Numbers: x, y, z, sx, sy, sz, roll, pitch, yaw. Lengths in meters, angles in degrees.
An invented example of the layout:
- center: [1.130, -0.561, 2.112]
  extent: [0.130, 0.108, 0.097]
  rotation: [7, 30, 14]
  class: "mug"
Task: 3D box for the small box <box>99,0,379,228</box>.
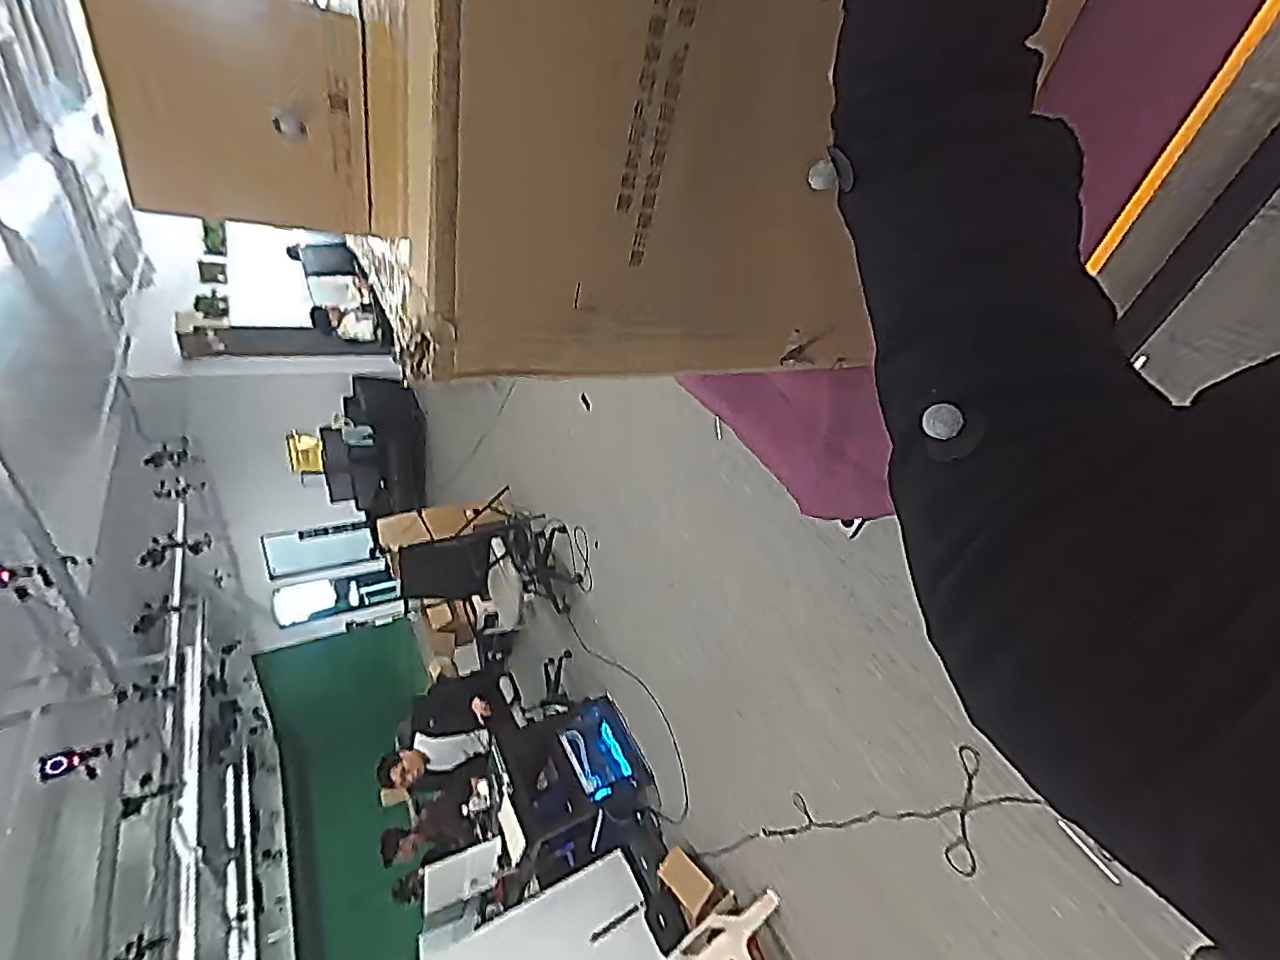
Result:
- center: [-0.337, -0.336, 0.478]
  extent: [0.179, 0.176, 0.168]
  rotation: [50, 137, 40]
  class: "small box"
